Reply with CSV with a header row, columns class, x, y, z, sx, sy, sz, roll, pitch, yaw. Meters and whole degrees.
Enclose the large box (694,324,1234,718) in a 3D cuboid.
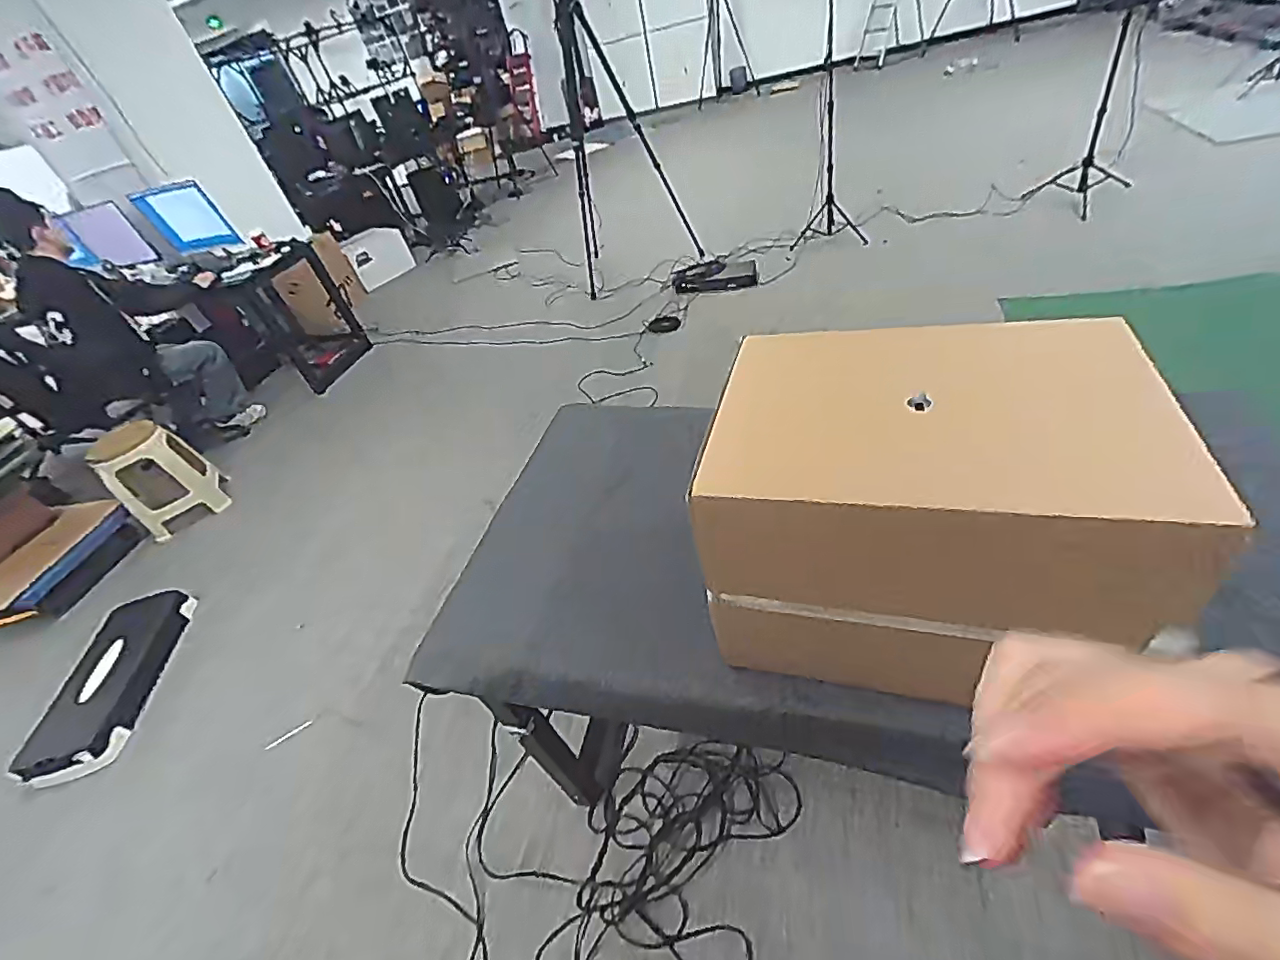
class,x,y,z,sx,sy,sz,roll,pitch,yaw
large box,0.307,0.036,0.641,0.408,0.320,0.320,3,43,20
